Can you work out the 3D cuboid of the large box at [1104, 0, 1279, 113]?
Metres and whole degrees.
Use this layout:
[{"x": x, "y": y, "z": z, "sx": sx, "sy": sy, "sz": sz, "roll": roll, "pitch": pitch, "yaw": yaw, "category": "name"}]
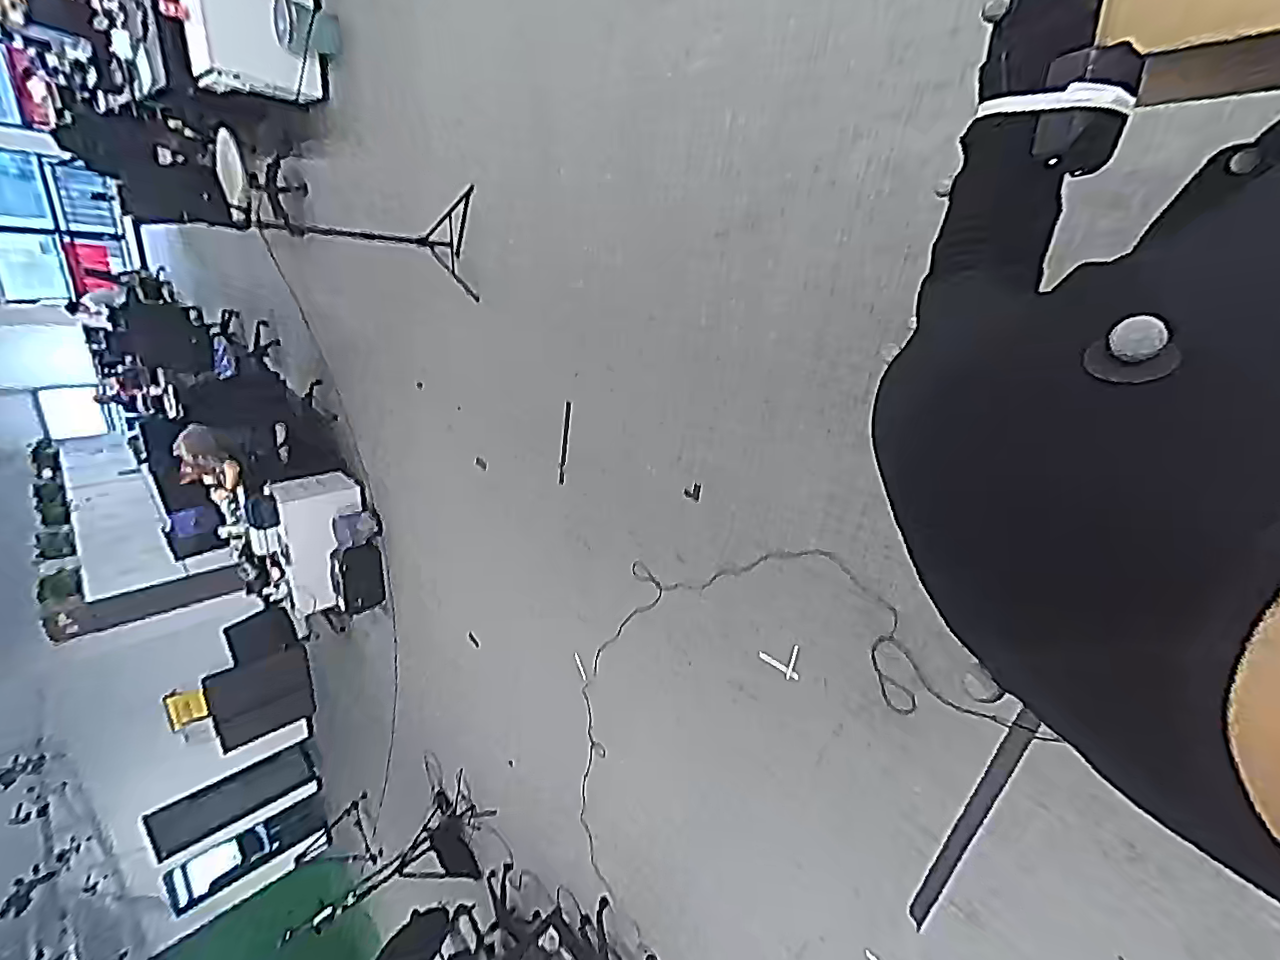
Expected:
[{"x": 0.546, "y": -0.422, "z": 0.279, "sx": 0.408, "sy": 0.320, "sz": 0.320, "roll": 18, "pitch": 123, "yaw": 38, "category": "large box"}]
